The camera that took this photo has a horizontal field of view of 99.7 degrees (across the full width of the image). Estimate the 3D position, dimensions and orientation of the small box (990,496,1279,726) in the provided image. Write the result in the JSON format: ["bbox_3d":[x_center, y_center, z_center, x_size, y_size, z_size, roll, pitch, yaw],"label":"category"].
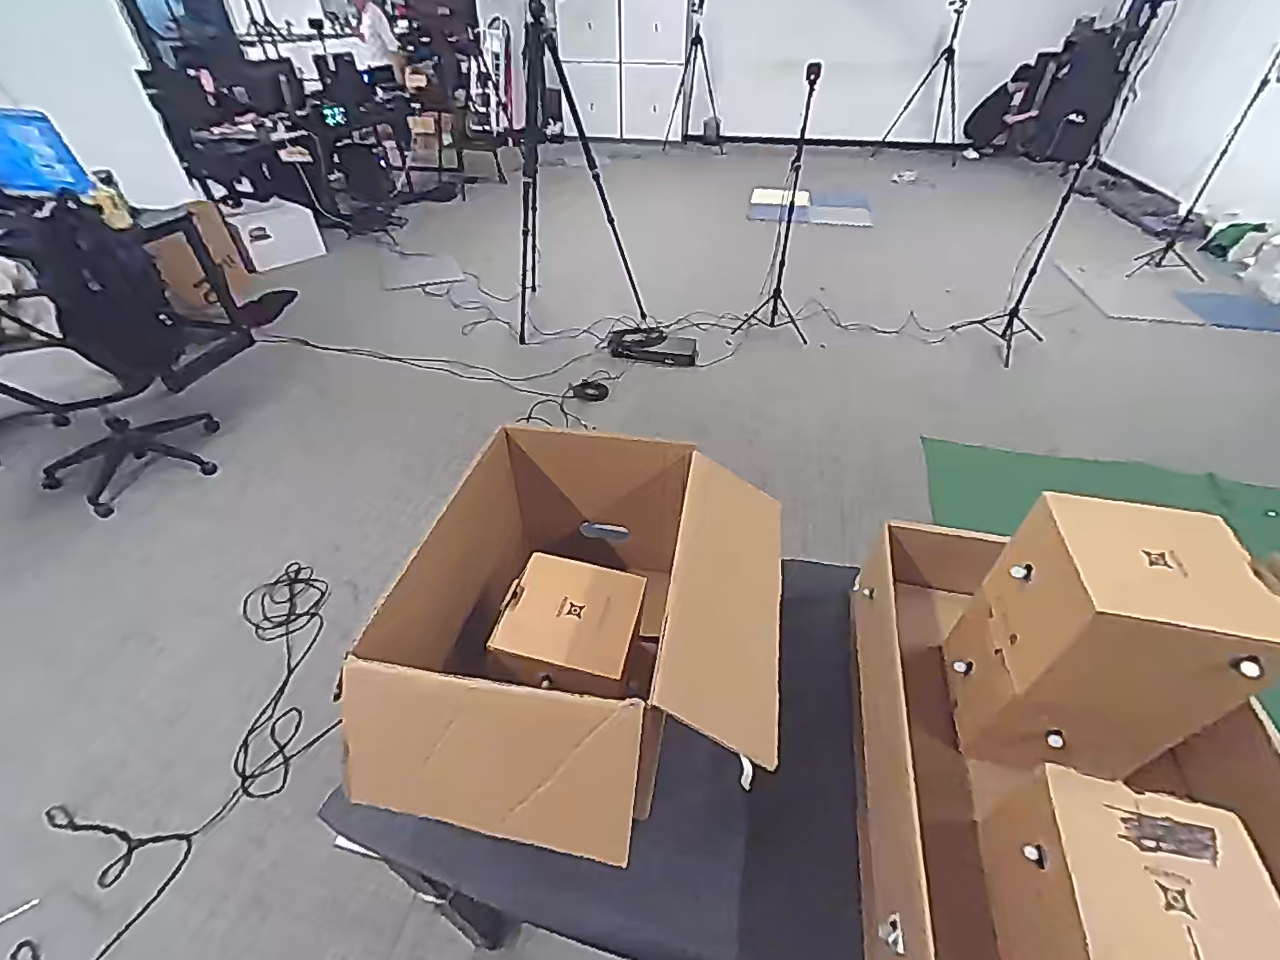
[{"bbox_3d":[0.514,0.142,0.589,0.179,0.176,0.168,9,43,10],"label":"small box"}]
